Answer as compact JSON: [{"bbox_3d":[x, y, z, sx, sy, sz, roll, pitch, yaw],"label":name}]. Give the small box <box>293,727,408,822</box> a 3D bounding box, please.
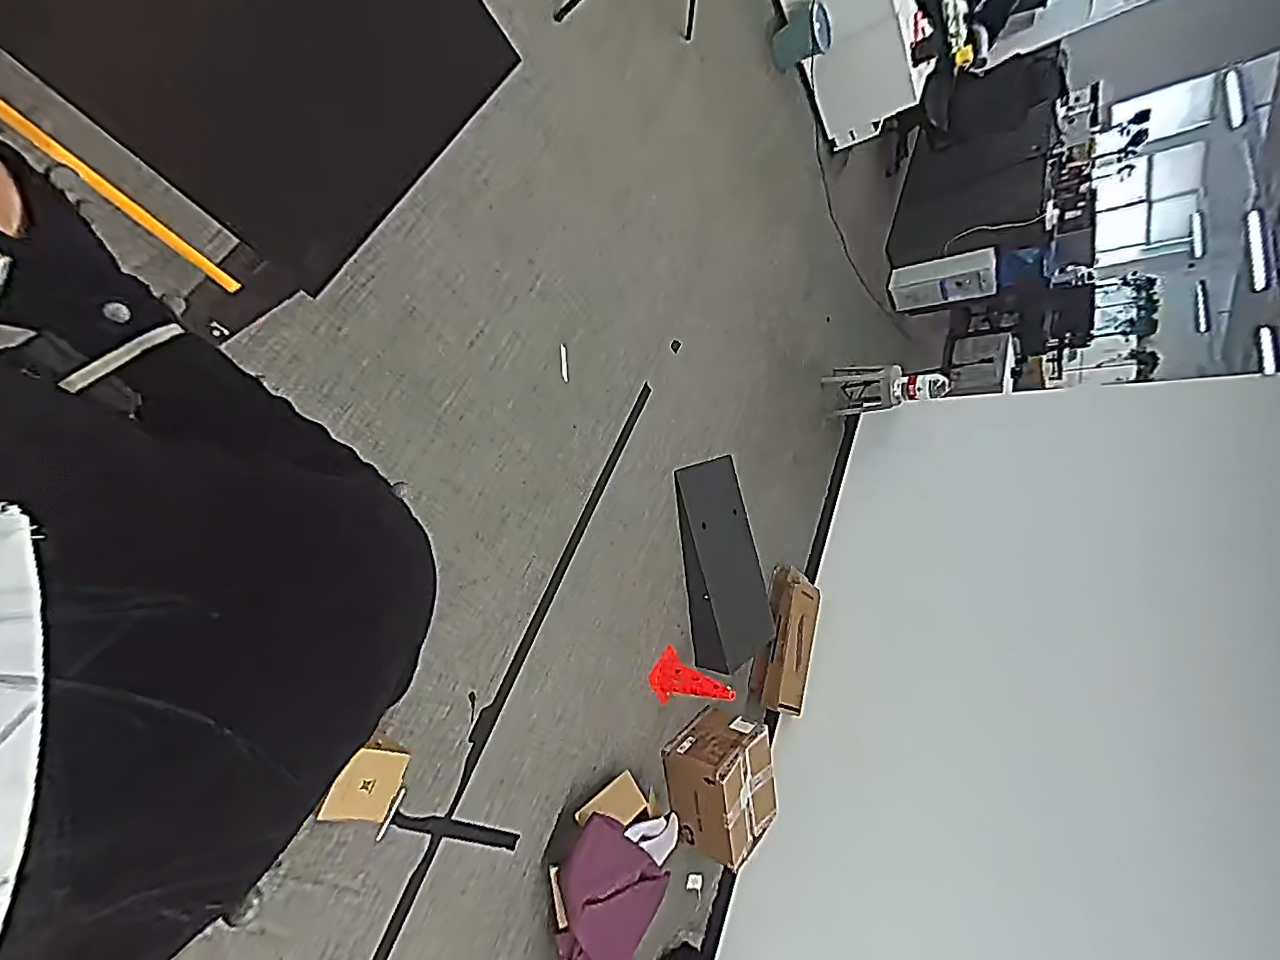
[{"bbox_3d":[-0.741,0.749,1.383,0.179,0.176,0.168,38,63,-41],"label":"small box"}]
